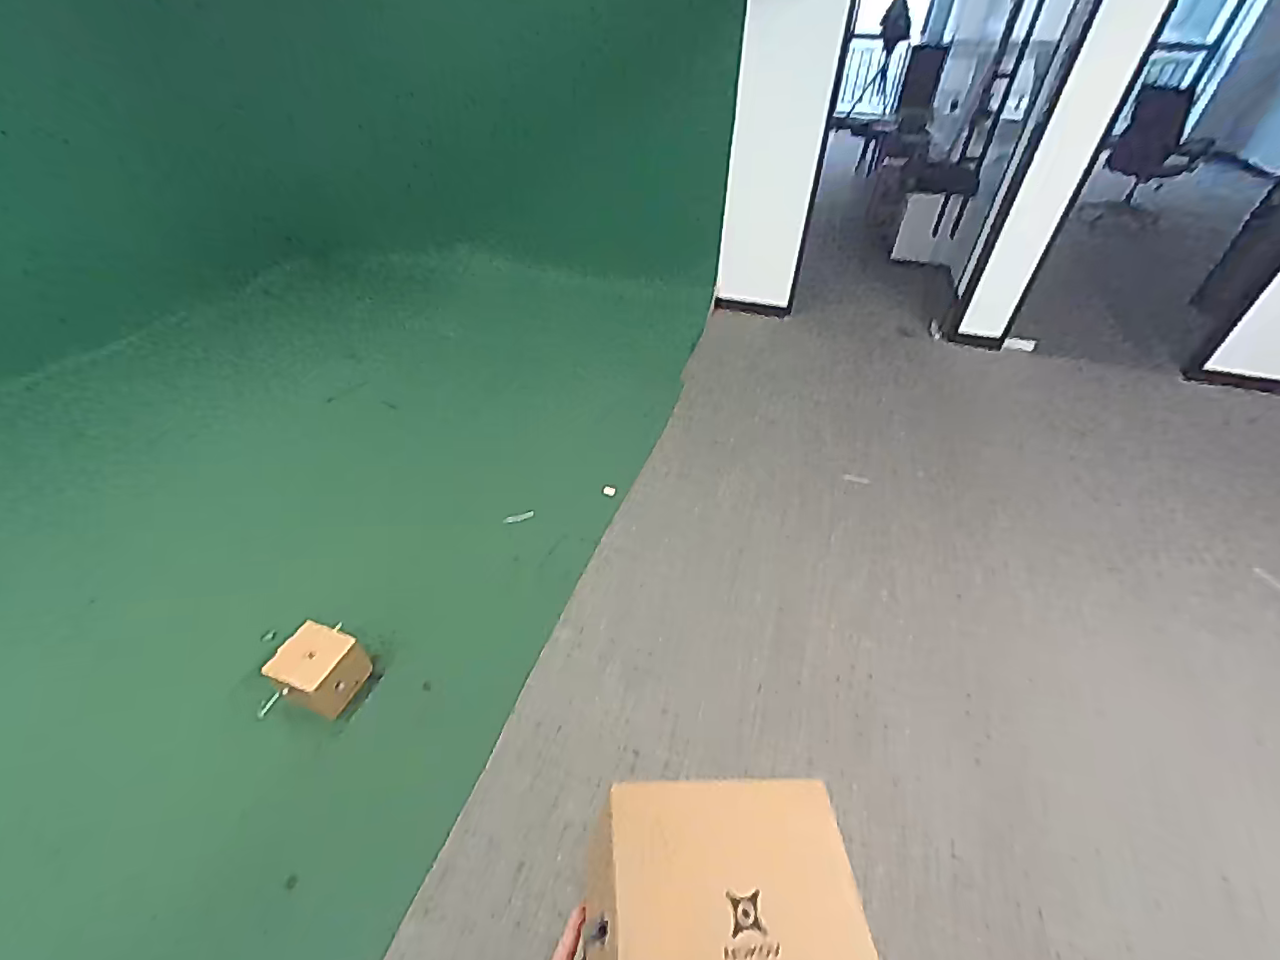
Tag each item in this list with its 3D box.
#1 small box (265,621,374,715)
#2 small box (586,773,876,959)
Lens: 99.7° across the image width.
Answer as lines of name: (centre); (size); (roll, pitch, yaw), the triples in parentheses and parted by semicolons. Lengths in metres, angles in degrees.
small box: (-0.888, 0.533, 1.520); (0.179, 0.176, 0.168); (14, 44, 15)
small box: (0.050, 0.336, 0.391); (0.168, 0.176, 0.179); (5, 42, -10)
